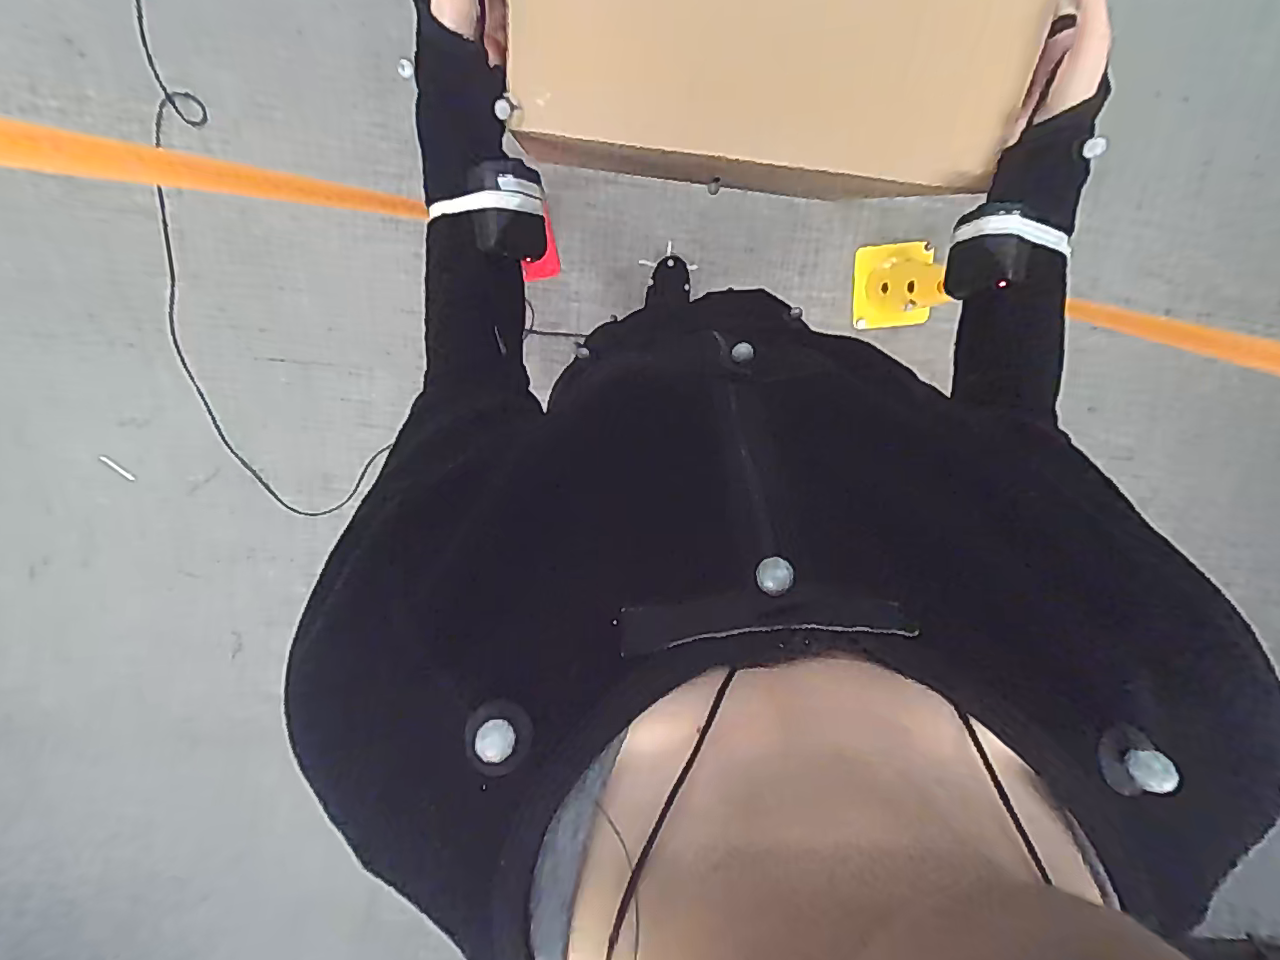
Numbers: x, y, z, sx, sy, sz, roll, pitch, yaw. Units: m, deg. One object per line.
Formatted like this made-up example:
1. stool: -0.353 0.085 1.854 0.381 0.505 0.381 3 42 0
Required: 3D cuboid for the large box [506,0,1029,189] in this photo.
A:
1. large box: 0.094 -0.466 0.512 0.408 0.320 0.320 2 115 -8
